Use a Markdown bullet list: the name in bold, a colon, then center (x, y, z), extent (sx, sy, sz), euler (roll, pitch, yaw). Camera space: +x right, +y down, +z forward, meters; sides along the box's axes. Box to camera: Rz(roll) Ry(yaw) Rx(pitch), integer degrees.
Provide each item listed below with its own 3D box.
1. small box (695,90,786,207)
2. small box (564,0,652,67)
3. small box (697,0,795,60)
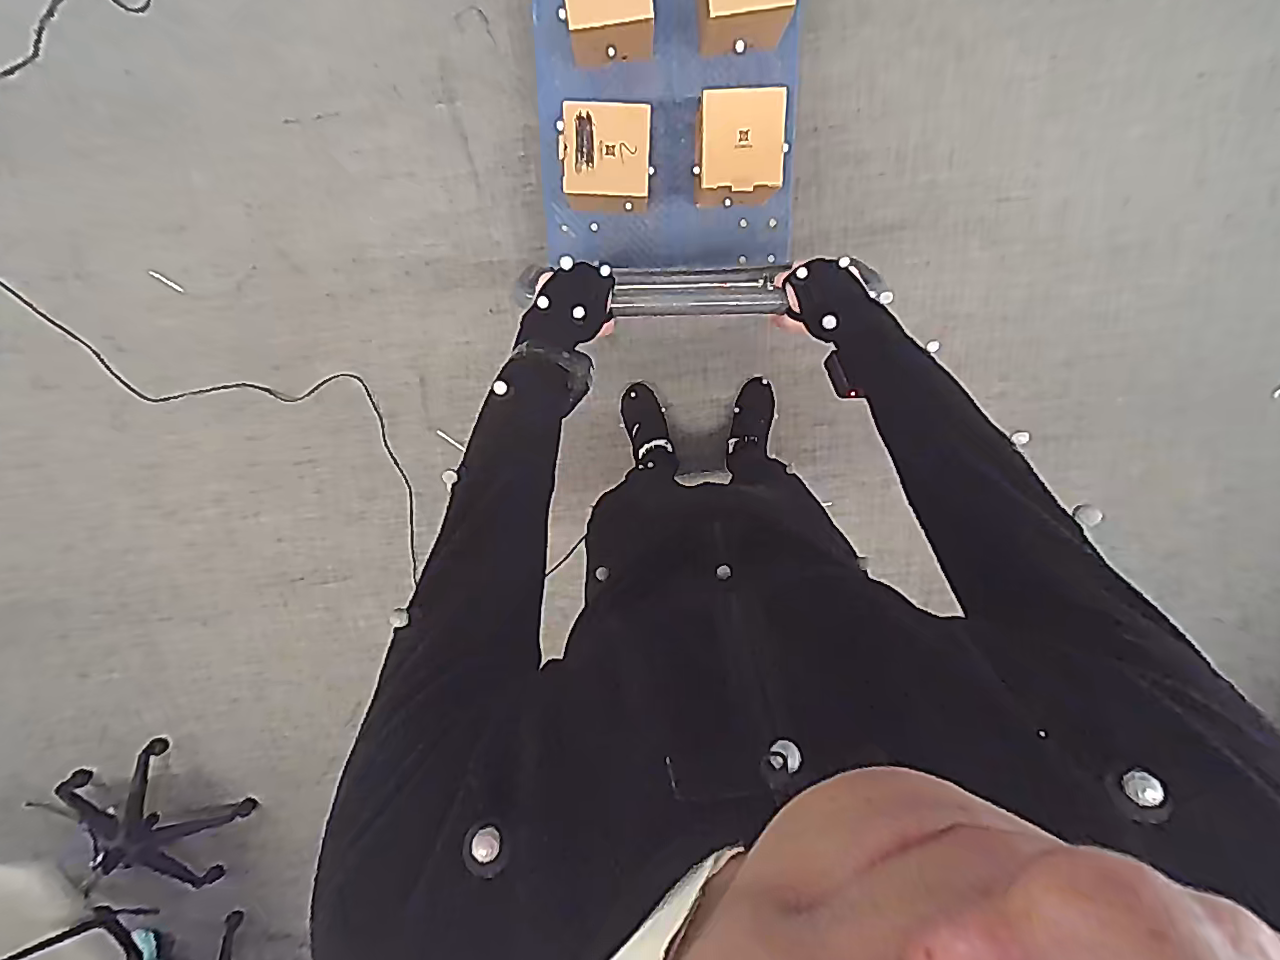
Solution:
- **small box**: center (0.207, -0.699, 1.158), extent (0.168, 0.176, 0.179), euler (-2, 106, 0)
- **small box**: center (-0.065, -0.962, 1.080), extent (0.168, 0.176, 0.179), euler (-7, 106, 1)
- **small box**: center (0.203, -0.984, 1.075), extent (0.168, 0.176, 0.179), euler (-6, 107, 2)
